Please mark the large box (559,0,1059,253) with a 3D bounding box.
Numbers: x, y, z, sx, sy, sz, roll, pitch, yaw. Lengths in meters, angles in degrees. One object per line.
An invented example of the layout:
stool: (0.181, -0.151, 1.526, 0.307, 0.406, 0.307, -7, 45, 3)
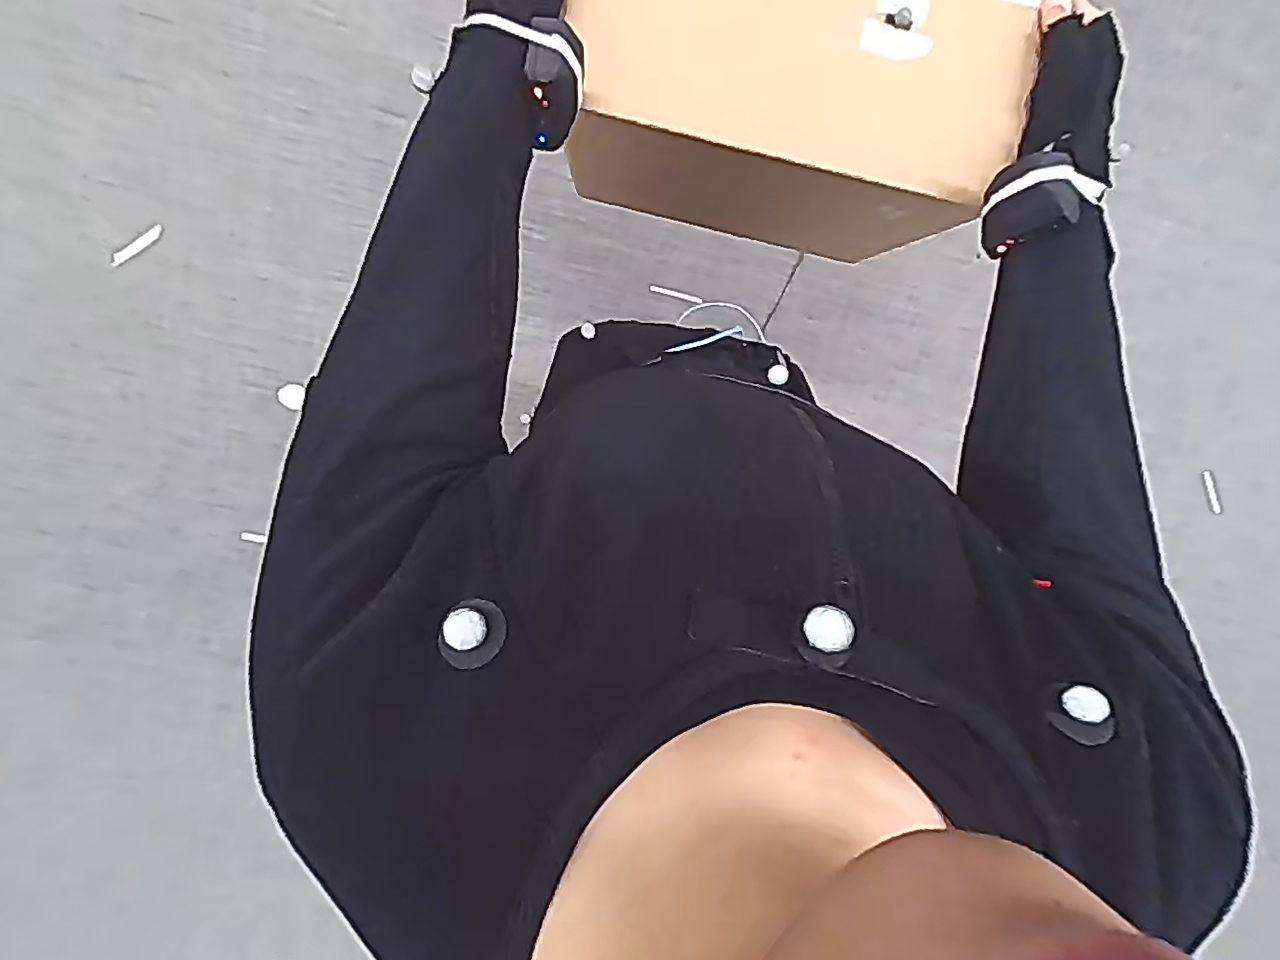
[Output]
large box: (0.146, -0.467, 0.579, 0.408, 0.320, 0.320, 12, 105, -5)
